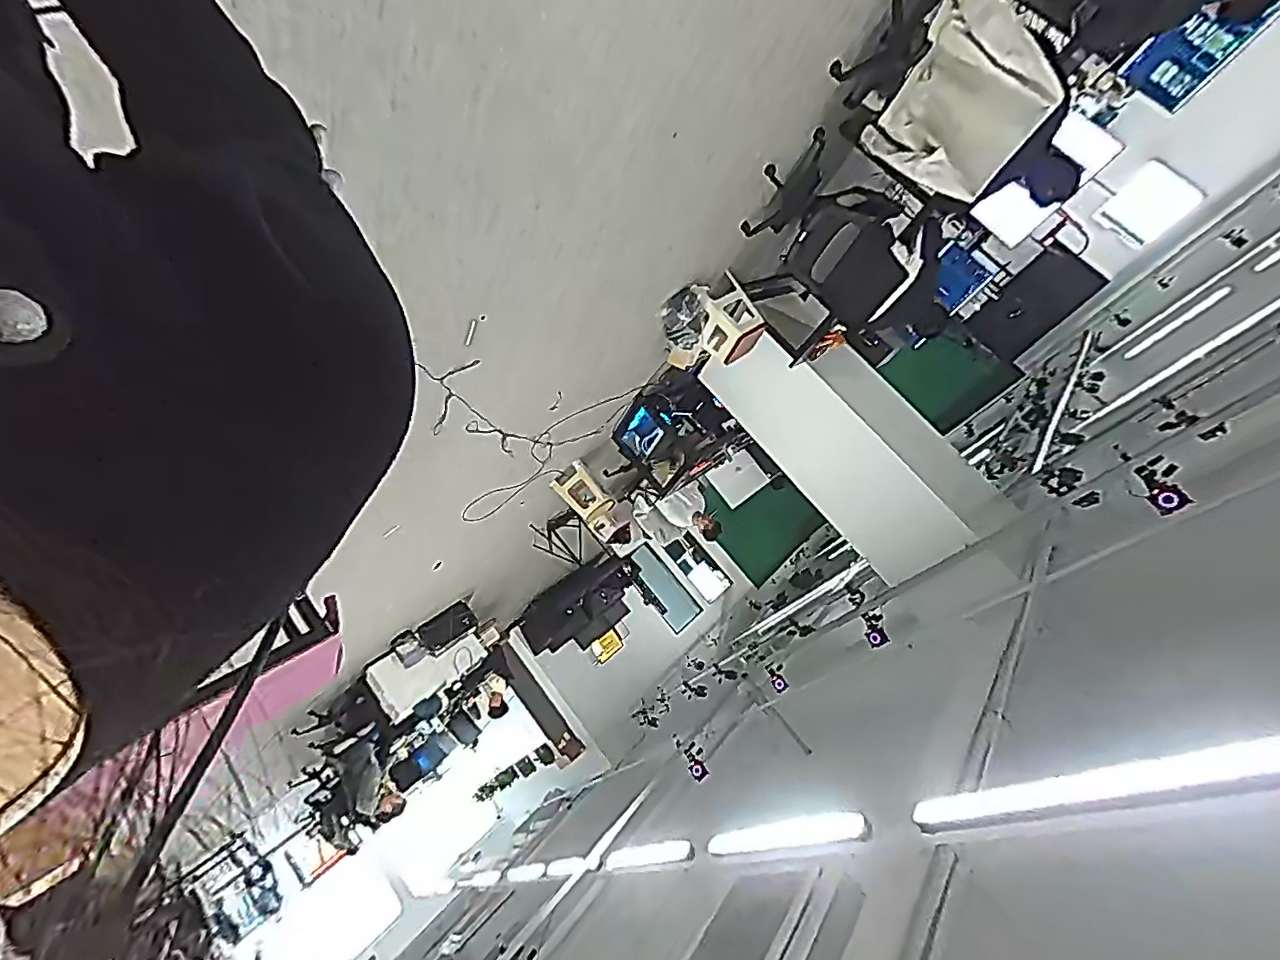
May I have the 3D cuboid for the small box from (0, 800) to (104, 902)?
[{"bbox_3d":[-1.731,1.081,1.579,0.179,0.176,0.168,-30,165,-45],"label":"small box"}]
